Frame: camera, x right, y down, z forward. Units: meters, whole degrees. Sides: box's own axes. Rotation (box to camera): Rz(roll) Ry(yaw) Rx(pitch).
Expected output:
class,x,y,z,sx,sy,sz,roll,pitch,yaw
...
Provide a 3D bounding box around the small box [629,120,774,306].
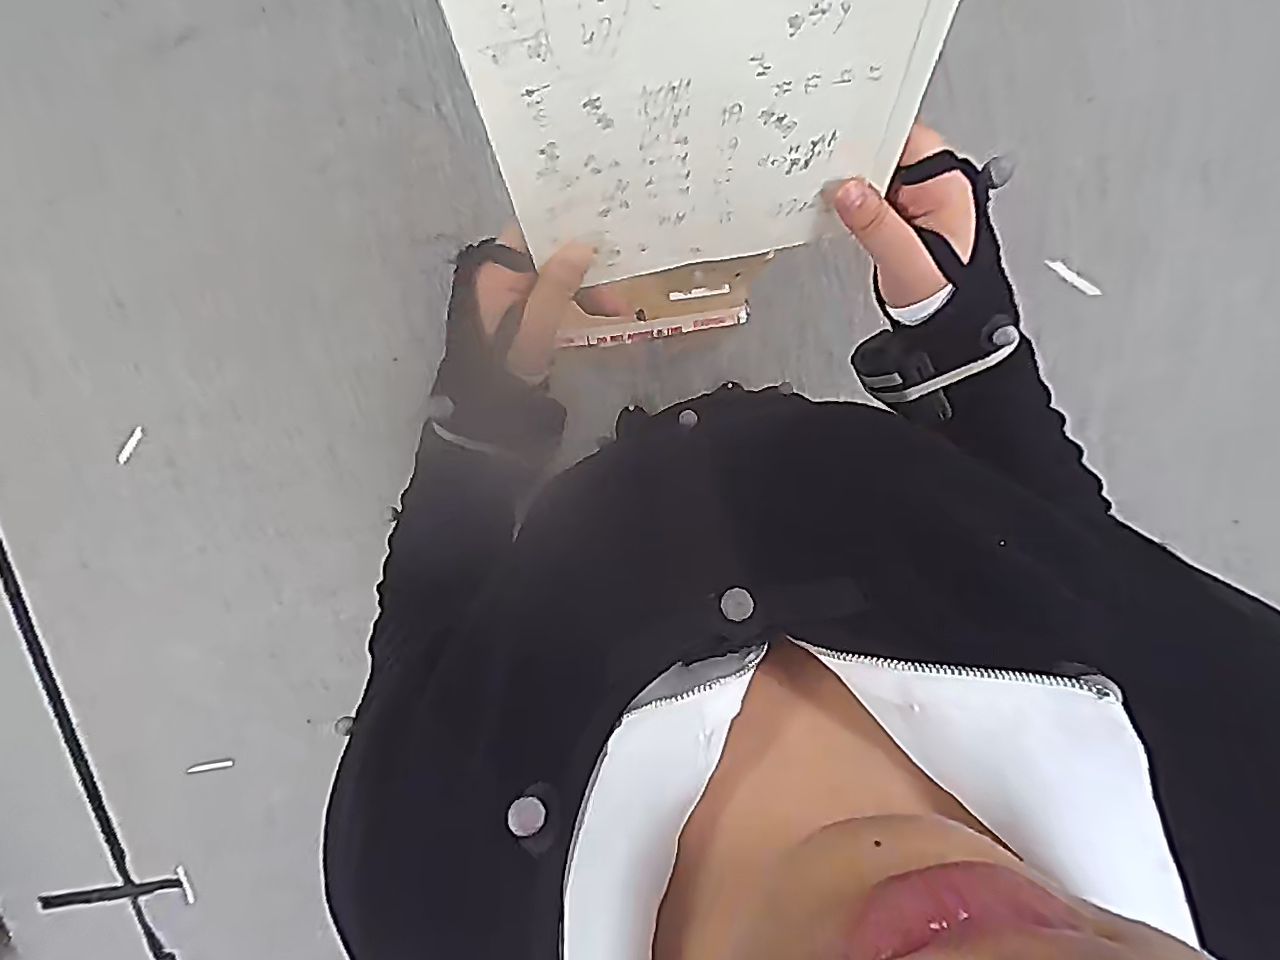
class,x,y,z,sx,sy,sz,roll,pitch,yaw
small box,0.073,-0.339,0.718,0.168,0.176,0.179,-5,100,1

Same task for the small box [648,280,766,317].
class,x,y,z,sx,sy,sz,roll,pitch,yaw
small box,0.093,-0.371,0.880,0.179,0.176,0.168,-9,99,2
